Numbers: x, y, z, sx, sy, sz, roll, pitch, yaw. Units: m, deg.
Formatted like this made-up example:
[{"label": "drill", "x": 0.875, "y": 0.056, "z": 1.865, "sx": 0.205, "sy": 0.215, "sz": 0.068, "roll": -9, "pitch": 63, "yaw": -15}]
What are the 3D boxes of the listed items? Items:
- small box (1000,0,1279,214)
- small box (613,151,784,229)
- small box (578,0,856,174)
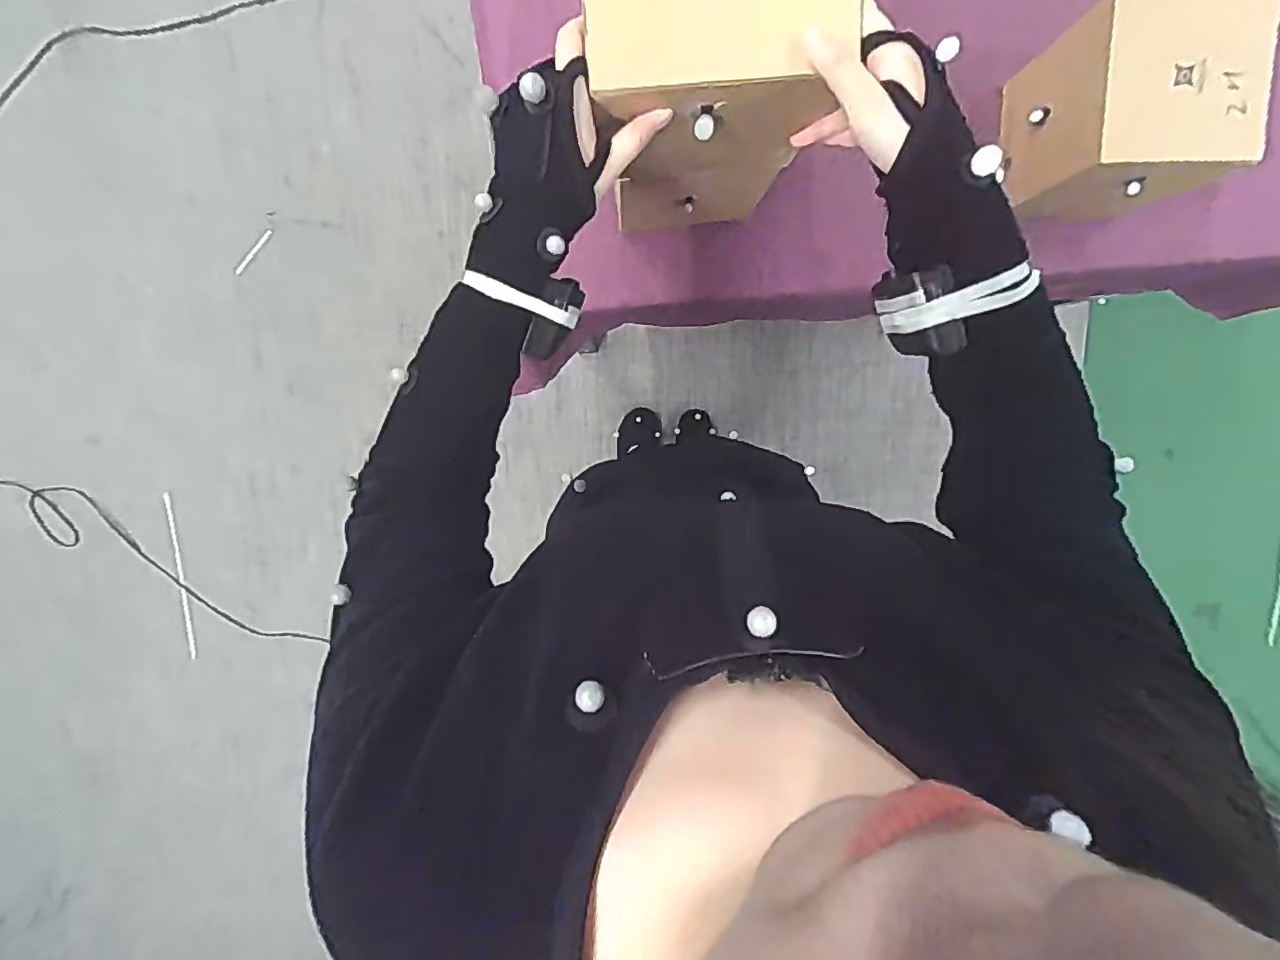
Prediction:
[{"label": "small box", "x": 0.559, "y": -0.422, "z": 0.628, "sx": 0.179, "sy": 0.176, "sz": 0.168, "roll": -1, "pitch": 99, "yaw": -1}, {"label": "small box", "x": 0.052, "y": -0.406, "z": 0.621, "sx": 0.179, "sy": 0.176, "sz": 0.168, "roll": -7, "pitch": 98, "yaw": 1}, {"label": "small box", "x": 0.047, "y": -0.350, "z": 0.406, "sx": 0.179, "sy": 0.176, "sz": 0.168, "roll": -3, "pitch": 102, "yaw": 2}]
